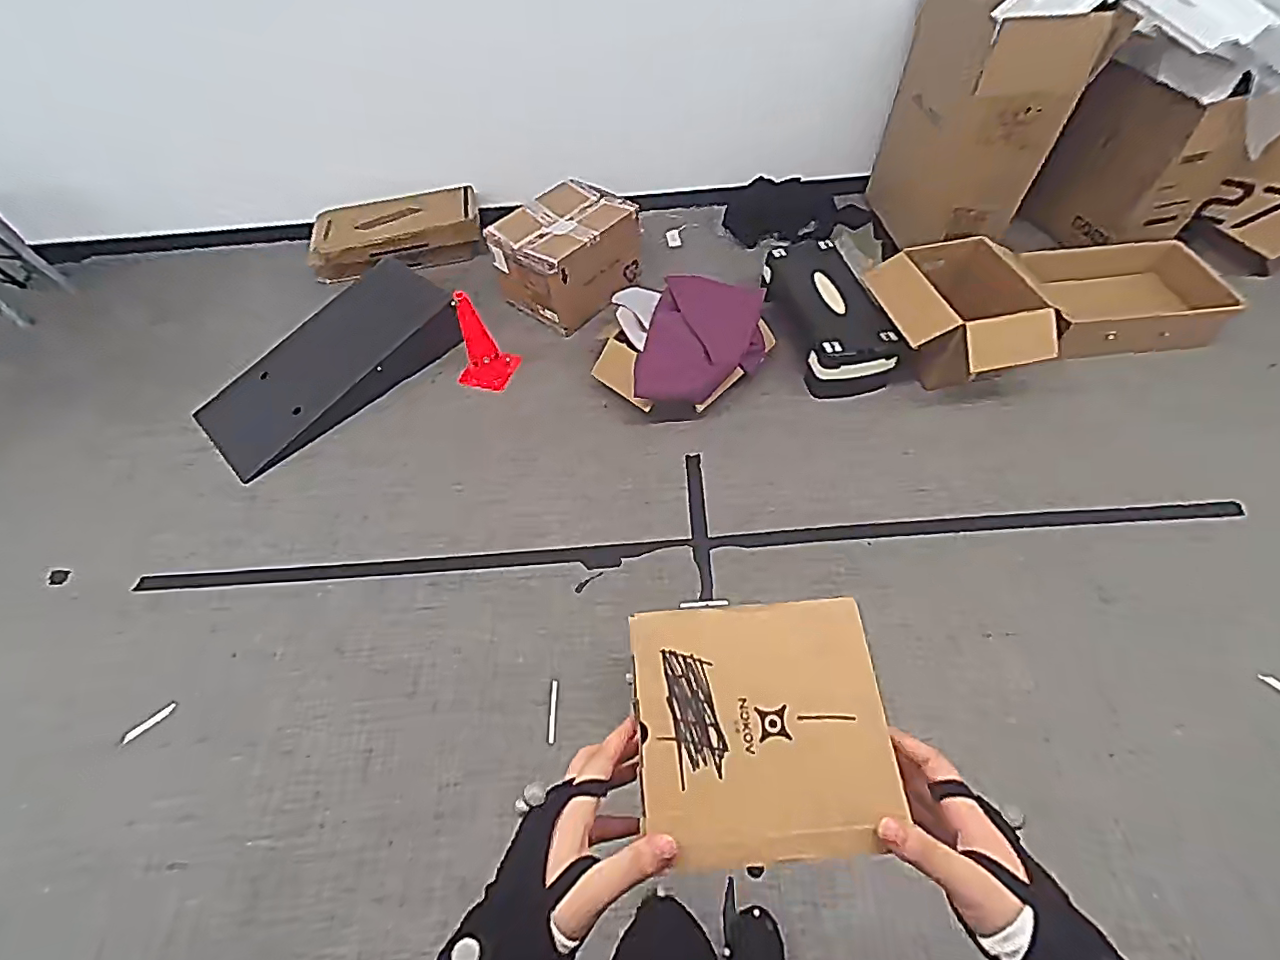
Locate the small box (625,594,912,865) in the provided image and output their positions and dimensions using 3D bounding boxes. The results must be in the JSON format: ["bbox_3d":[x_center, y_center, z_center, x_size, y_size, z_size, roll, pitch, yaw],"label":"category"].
[{"bbox_3d":[0.084,0.200,0.447,0.179,0.176,0.168,-5,64,0],"label":"small box"}]
